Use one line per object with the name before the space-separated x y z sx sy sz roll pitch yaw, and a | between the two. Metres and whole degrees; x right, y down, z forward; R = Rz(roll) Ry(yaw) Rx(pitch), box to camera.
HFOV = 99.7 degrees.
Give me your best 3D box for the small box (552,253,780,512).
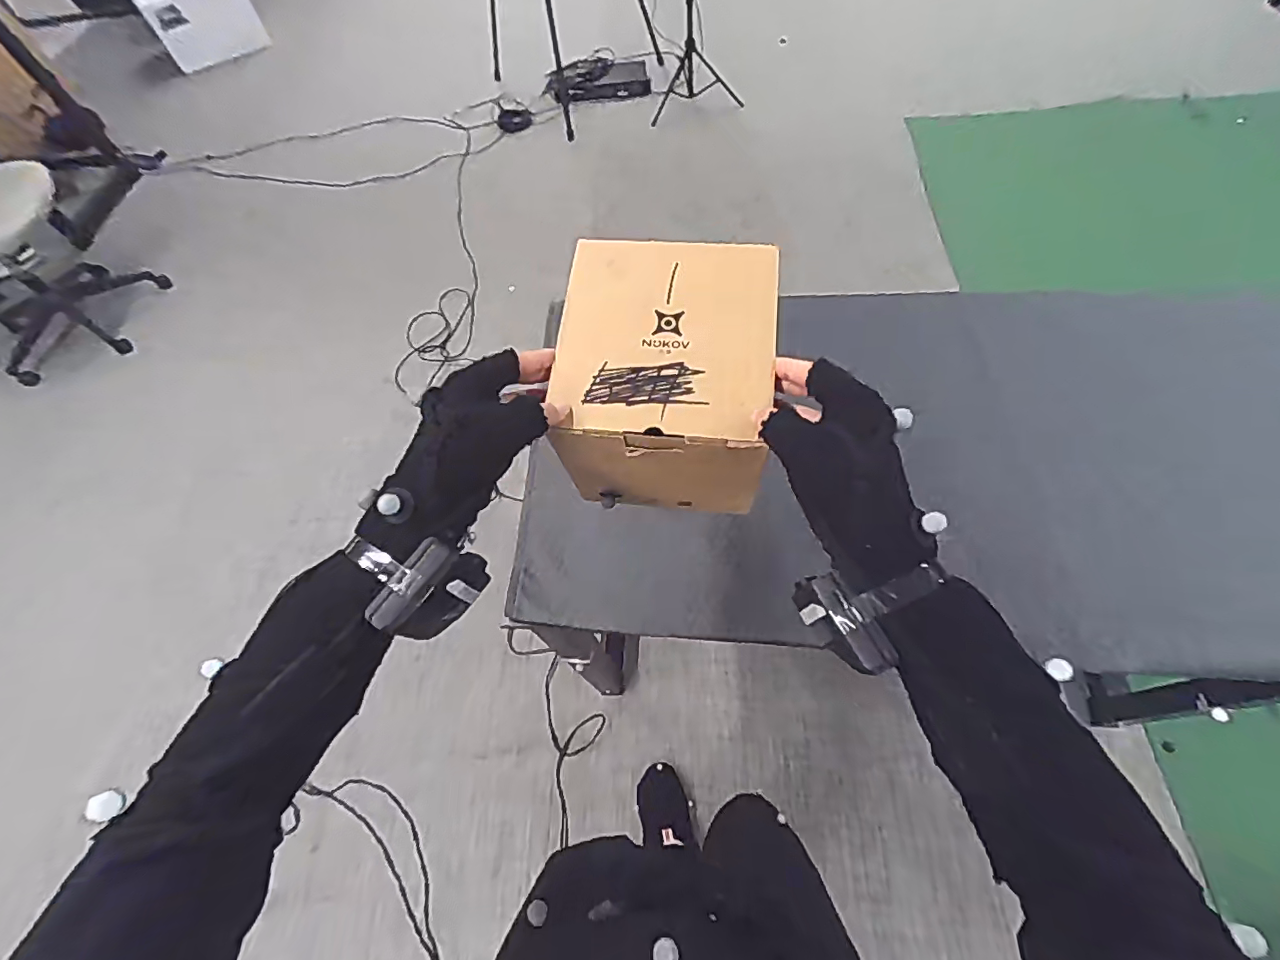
small box | 0.031 -0.079 0.497 0.168 0.176 0.179 5 69 7
